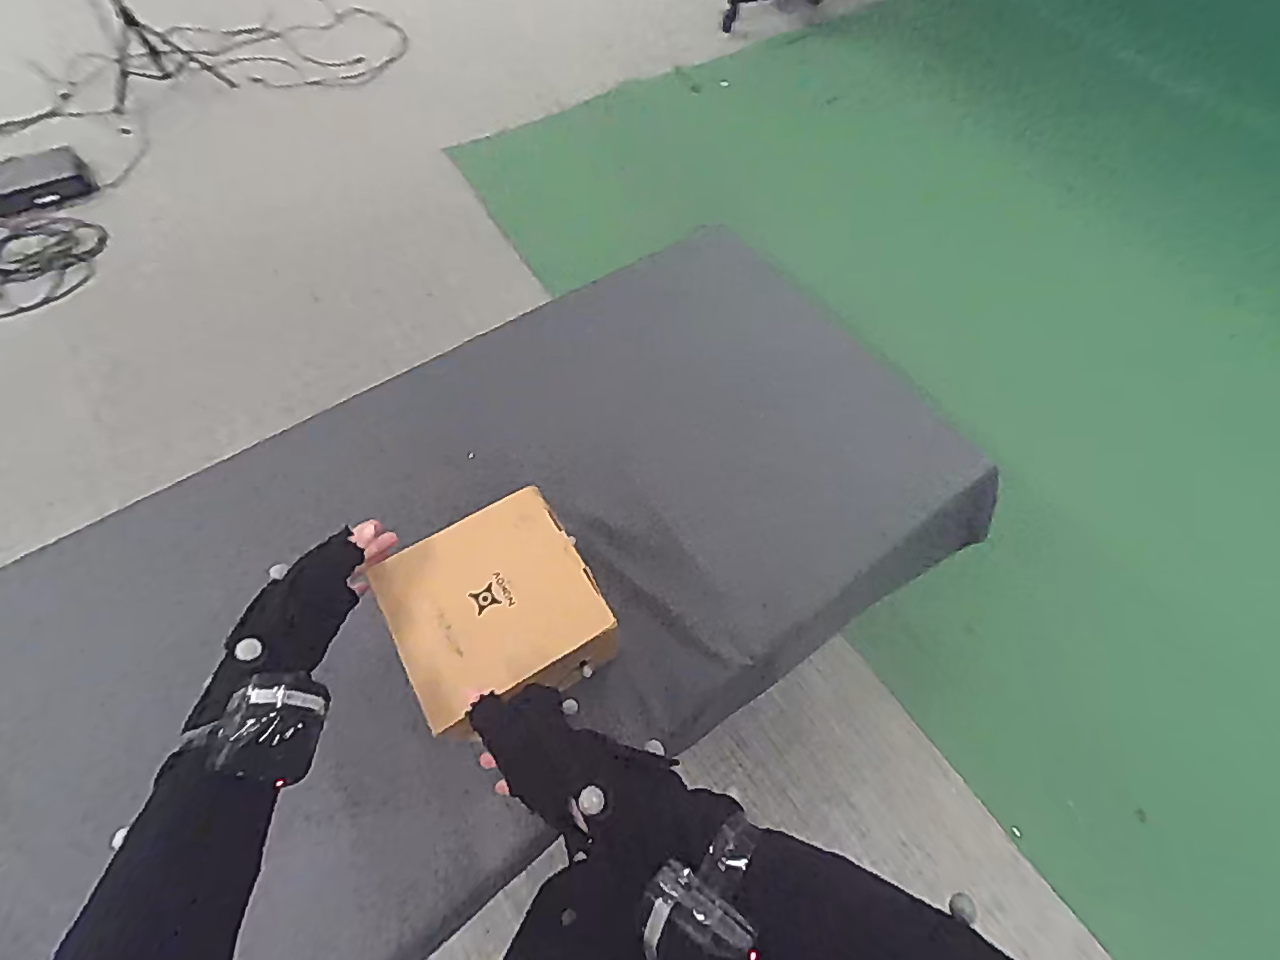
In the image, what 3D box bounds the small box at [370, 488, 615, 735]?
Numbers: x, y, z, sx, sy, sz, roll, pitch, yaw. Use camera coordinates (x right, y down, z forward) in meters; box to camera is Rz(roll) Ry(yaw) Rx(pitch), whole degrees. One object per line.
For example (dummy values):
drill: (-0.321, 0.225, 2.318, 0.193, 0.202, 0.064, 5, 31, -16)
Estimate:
small box: (-0.140, 0.144, 0.569, 0.179, 0.176, 0.168, -30, 66, -15)
